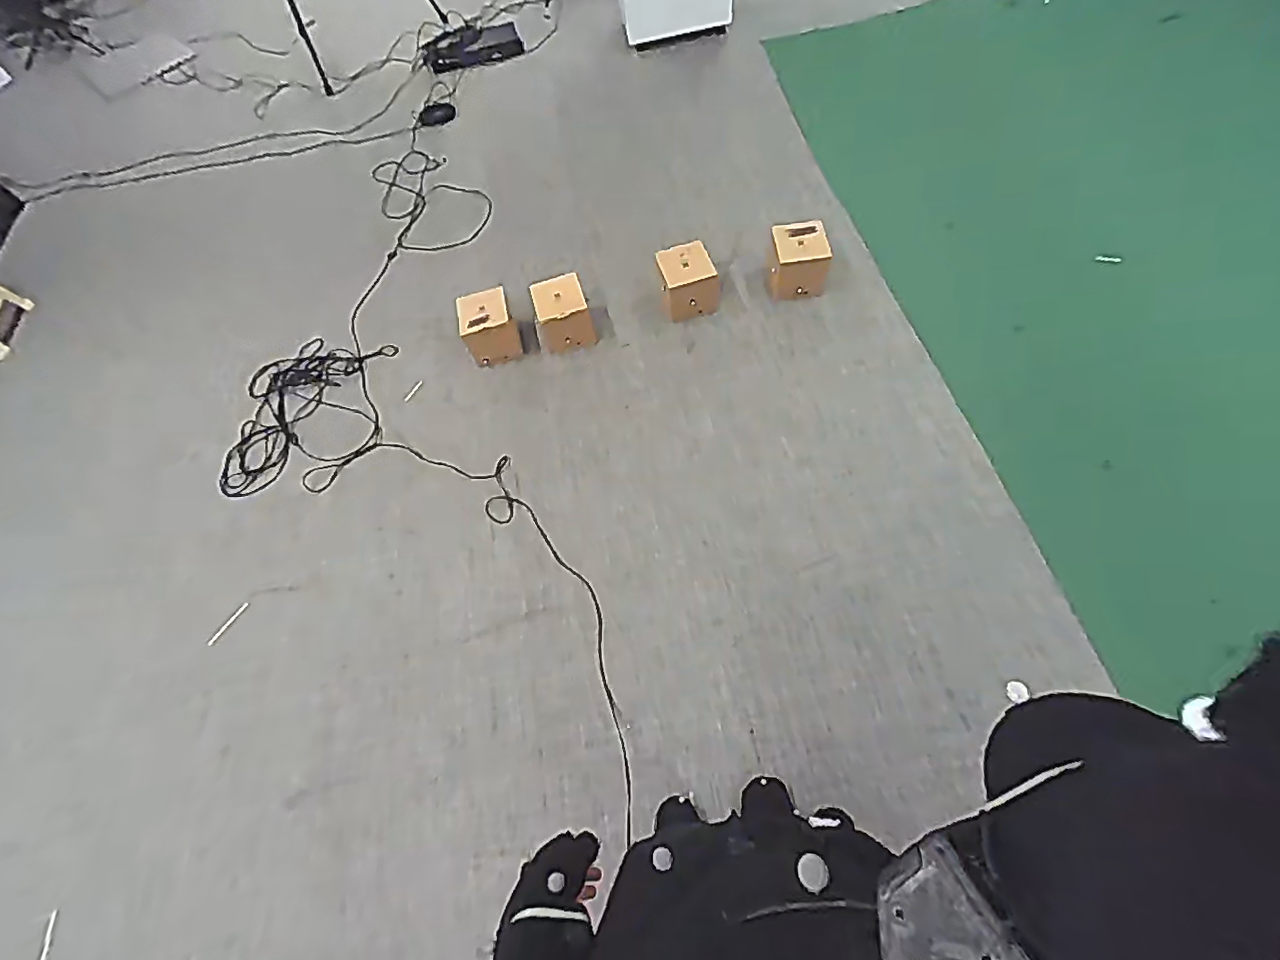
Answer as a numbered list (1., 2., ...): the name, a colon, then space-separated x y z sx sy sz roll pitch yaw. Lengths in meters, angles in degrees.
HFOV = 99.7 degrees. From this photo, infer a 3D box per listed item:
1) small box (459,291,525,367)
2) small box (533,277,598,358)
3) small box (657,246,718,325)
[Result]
1. small box: -0.502 -0.509 1.853 0.168 0.176 0.179 -15 61 0
2. small box: -0.250 -0.549 1.842 0.168 0.176 0.179 -18 63 -1
3. small box: 0.163 -0.653 1.840 0.168 0.176 0.179 -16 62 -2
